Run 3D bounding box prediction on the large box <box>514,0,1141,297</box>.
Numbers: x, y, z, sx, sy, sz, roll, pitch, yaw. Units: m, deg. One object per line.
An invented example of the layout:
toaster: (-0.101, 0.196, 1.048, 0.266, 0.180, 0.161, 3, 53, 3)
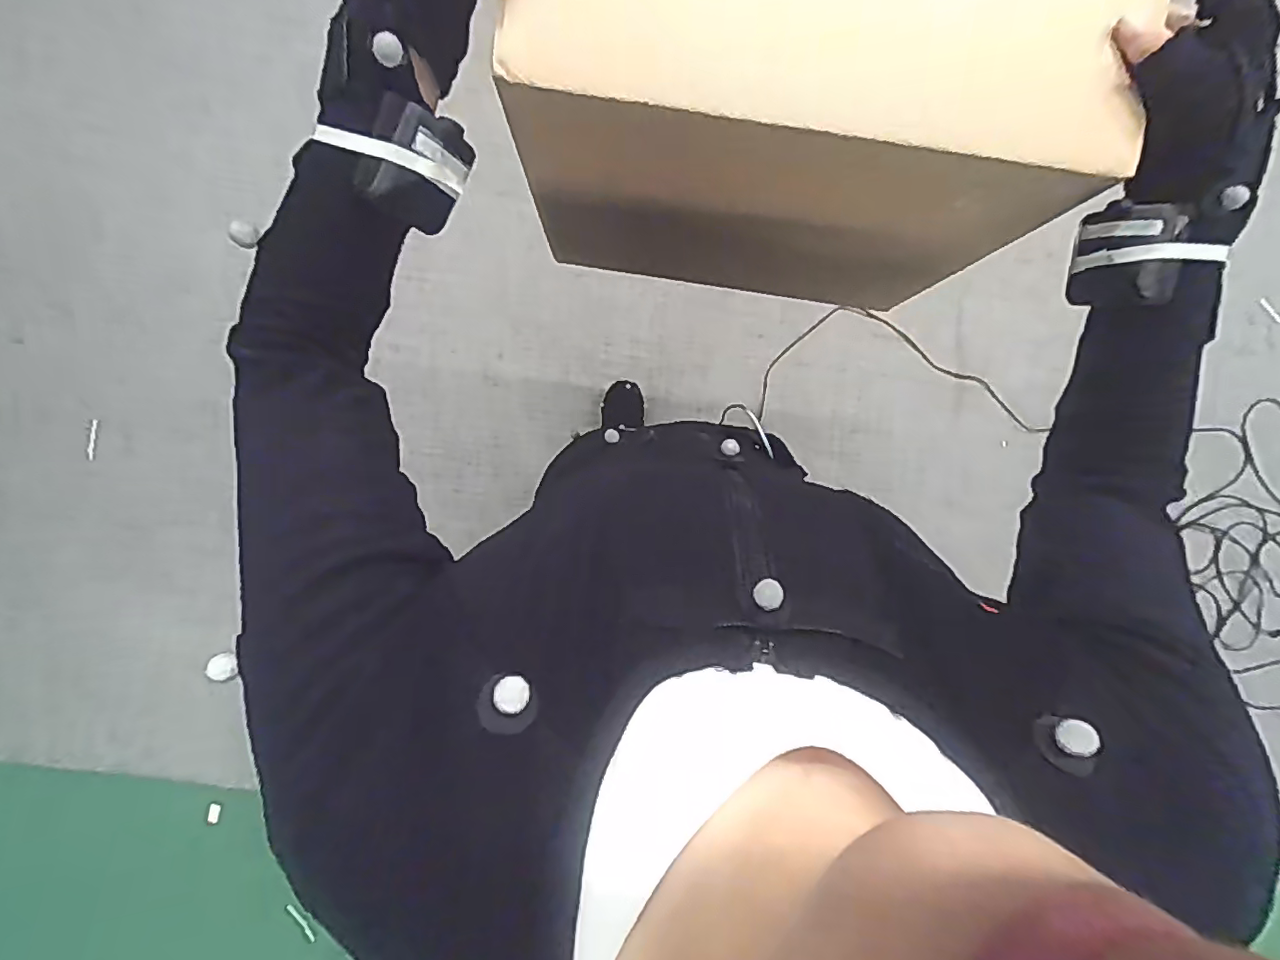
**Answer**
large box: (0.123, -0.384, 0.487, 0.408, 0.320, 0.320, 7, 92, -4)
